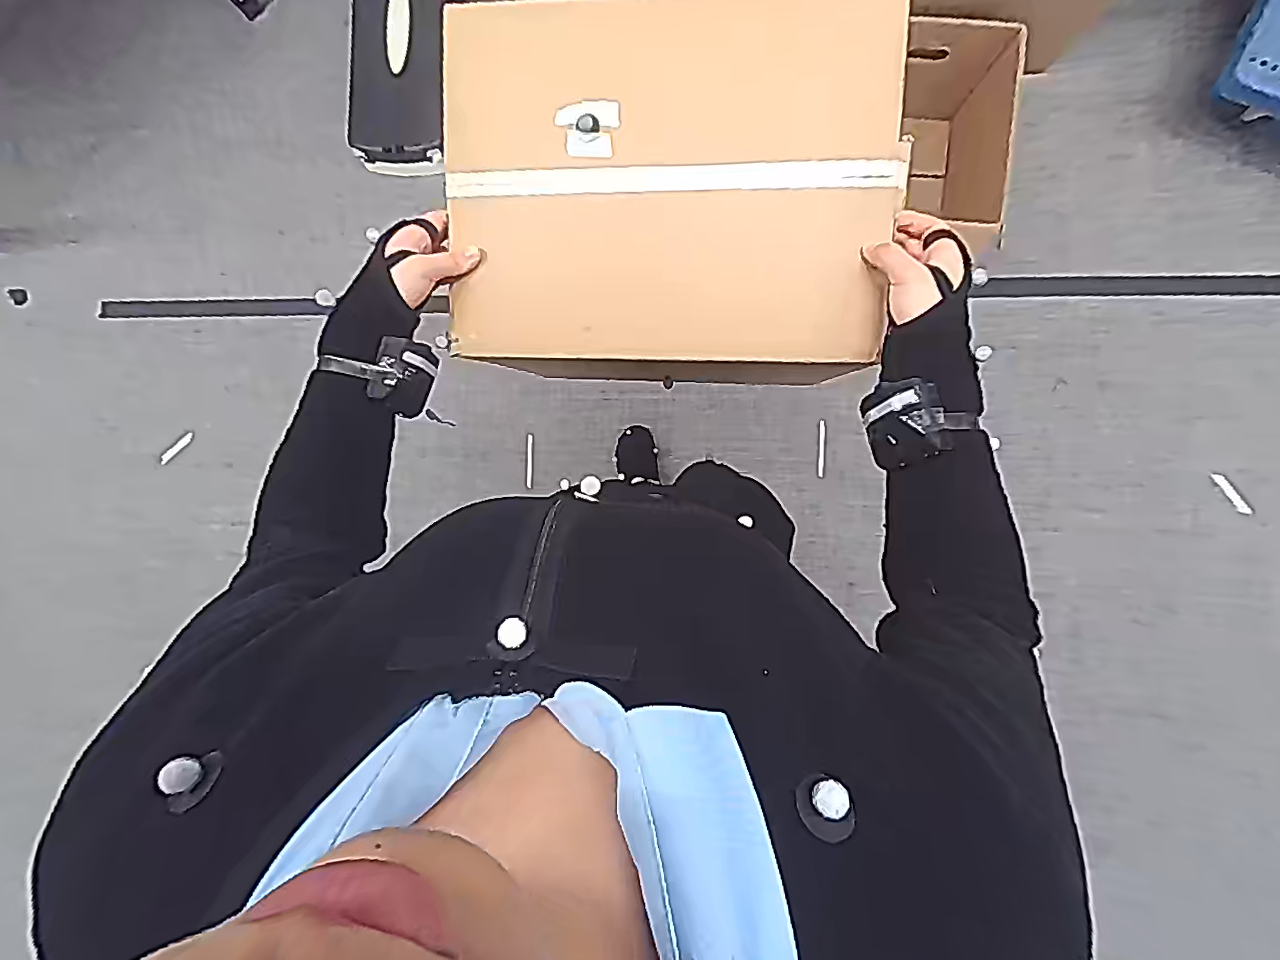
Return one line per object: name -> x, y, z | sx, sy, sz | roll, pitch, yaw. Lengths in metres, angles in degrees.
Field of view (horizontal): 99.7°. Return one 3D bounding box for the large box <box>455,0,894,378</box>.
large box -> 0.041, -0.287, 0.644 | 0.408, 0.320, 0.320 | 2, 95, 8
